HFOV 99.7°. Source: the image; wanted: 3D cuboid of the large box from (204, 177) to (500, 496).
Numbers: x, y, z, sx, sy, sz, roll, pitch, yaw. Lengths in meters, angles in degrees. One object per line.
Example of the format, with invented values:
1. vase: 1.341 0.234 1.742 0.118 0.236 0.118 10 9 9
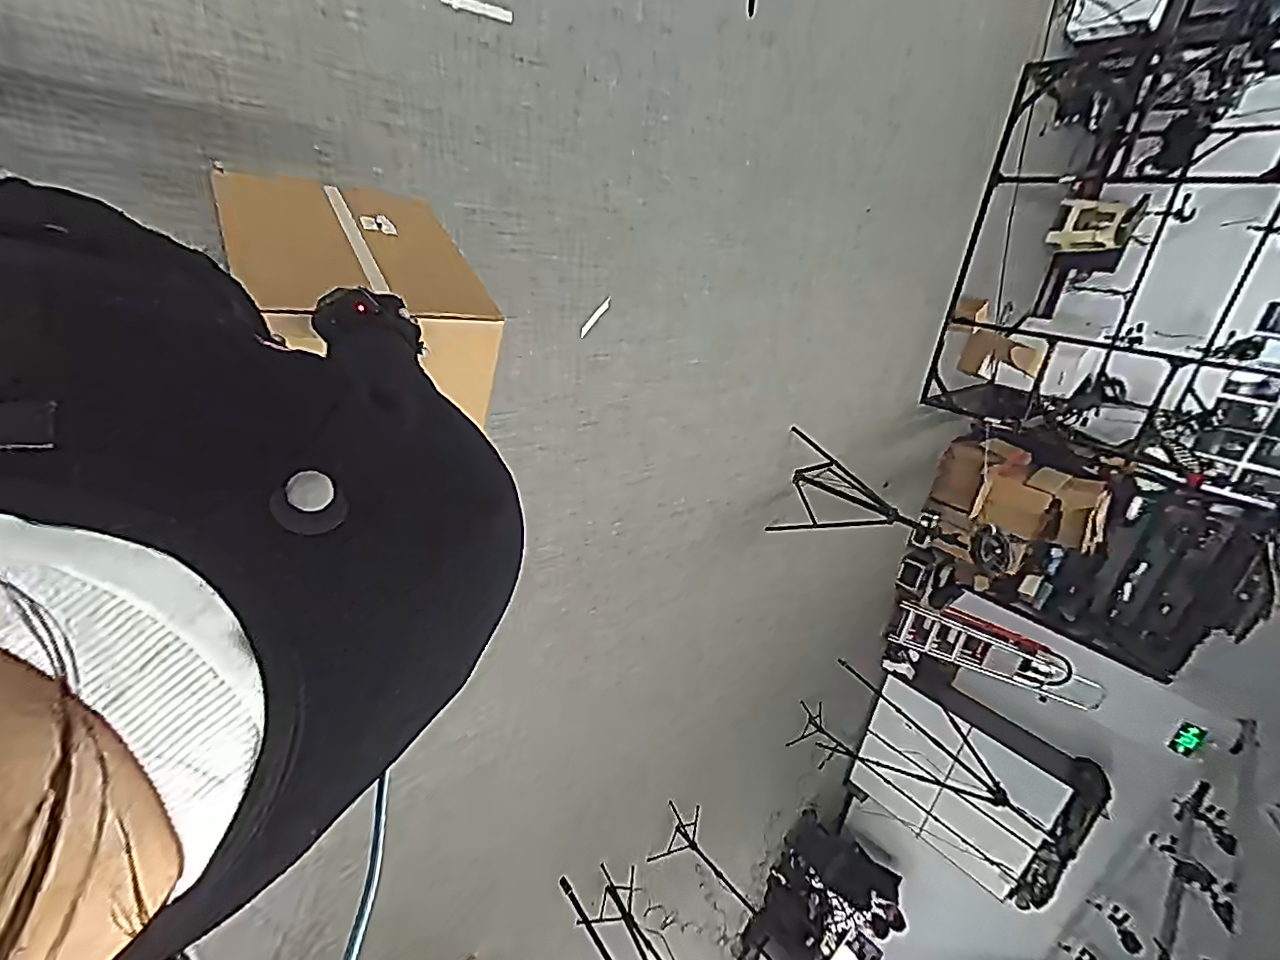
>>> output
1. large box: -0.472 -0.236 0.886 0.320 0.408 0.320 -10 139 -37
